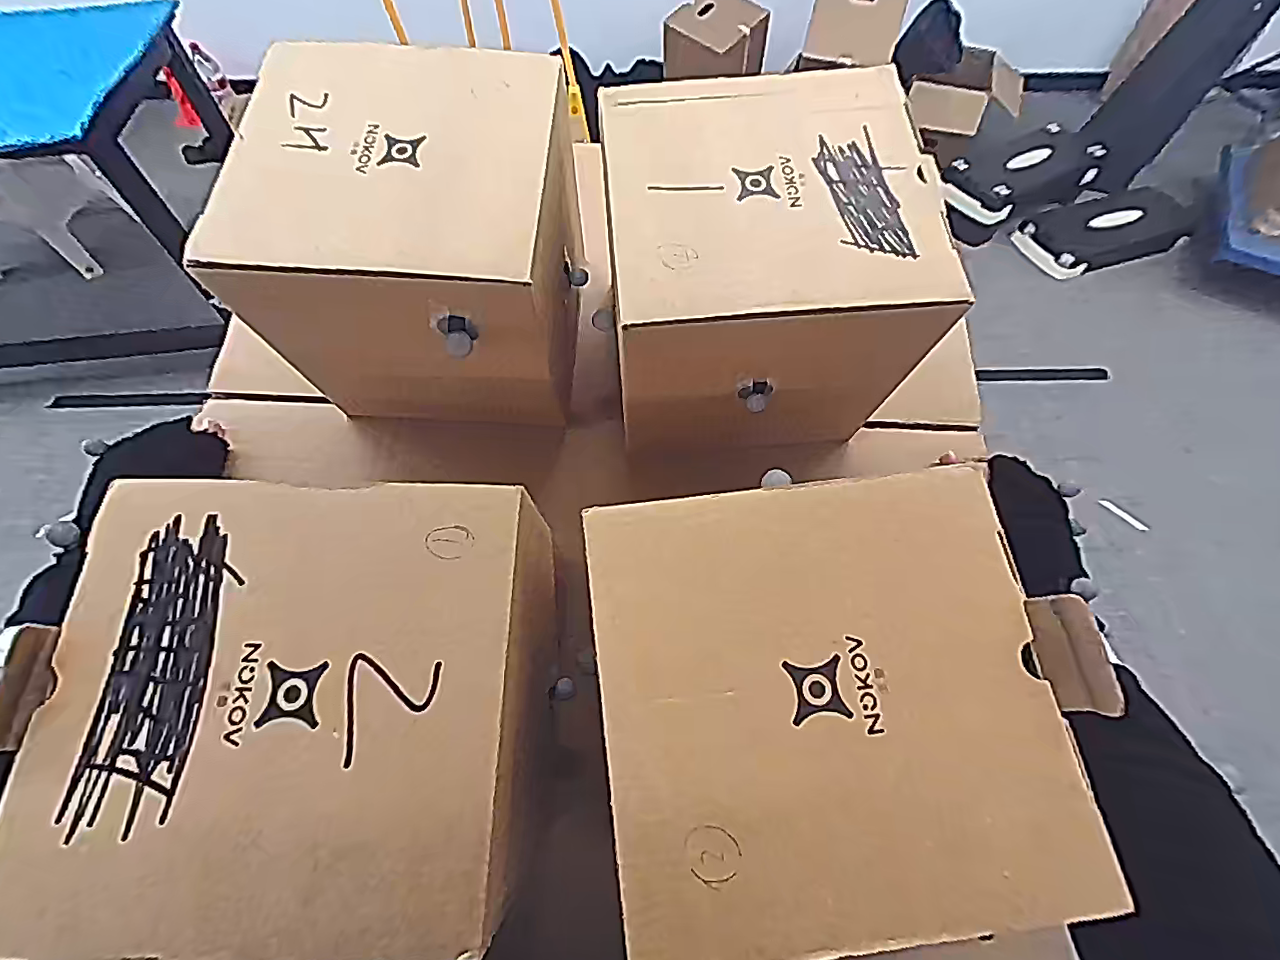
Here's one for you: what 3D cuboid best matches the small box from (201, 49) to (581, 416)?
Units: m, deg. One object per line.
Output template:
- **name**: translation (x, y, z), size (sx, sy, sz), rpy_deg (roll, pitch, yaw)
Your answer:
- **small box**: translation (-0.140, -0.156, 0.384), size (0.179, 0.176, 0.168), rpy_deg (4, 70, 1)
